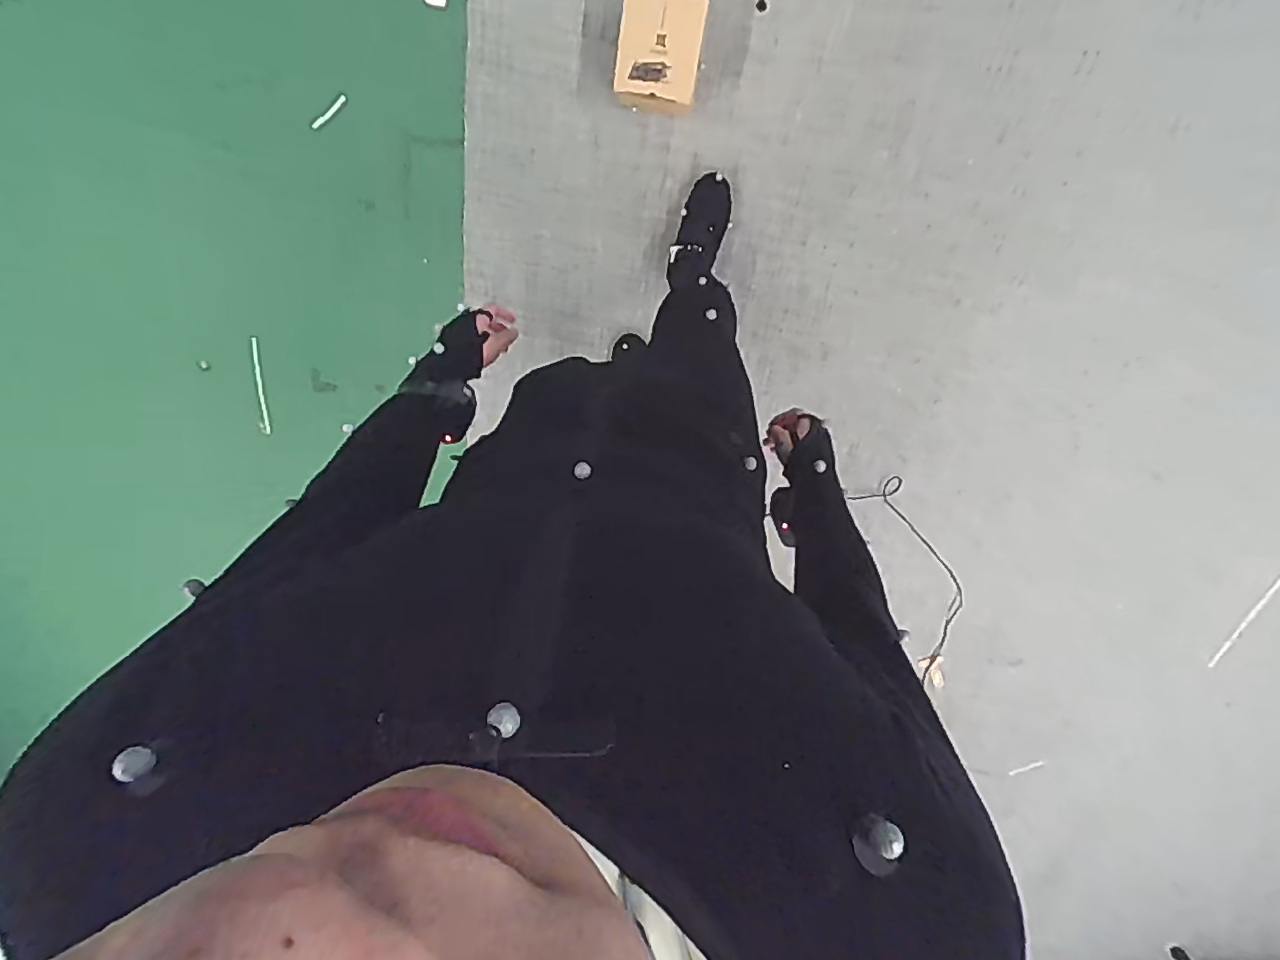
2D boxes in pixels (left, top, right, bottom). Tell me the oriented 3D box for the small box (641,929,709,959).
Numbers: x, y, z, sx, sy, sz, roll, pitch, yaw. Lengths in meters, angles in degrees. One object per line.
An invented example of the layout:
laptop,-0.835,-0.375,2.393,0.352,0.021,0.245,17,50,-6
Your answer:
small box,0.087,1.349,1.449,0.179,0.176,0.168,8,118,2

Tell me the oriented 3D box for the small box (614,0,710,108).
small box,0.050,-0.900,1.126,0.168,0.176,0.179,11,117,1
